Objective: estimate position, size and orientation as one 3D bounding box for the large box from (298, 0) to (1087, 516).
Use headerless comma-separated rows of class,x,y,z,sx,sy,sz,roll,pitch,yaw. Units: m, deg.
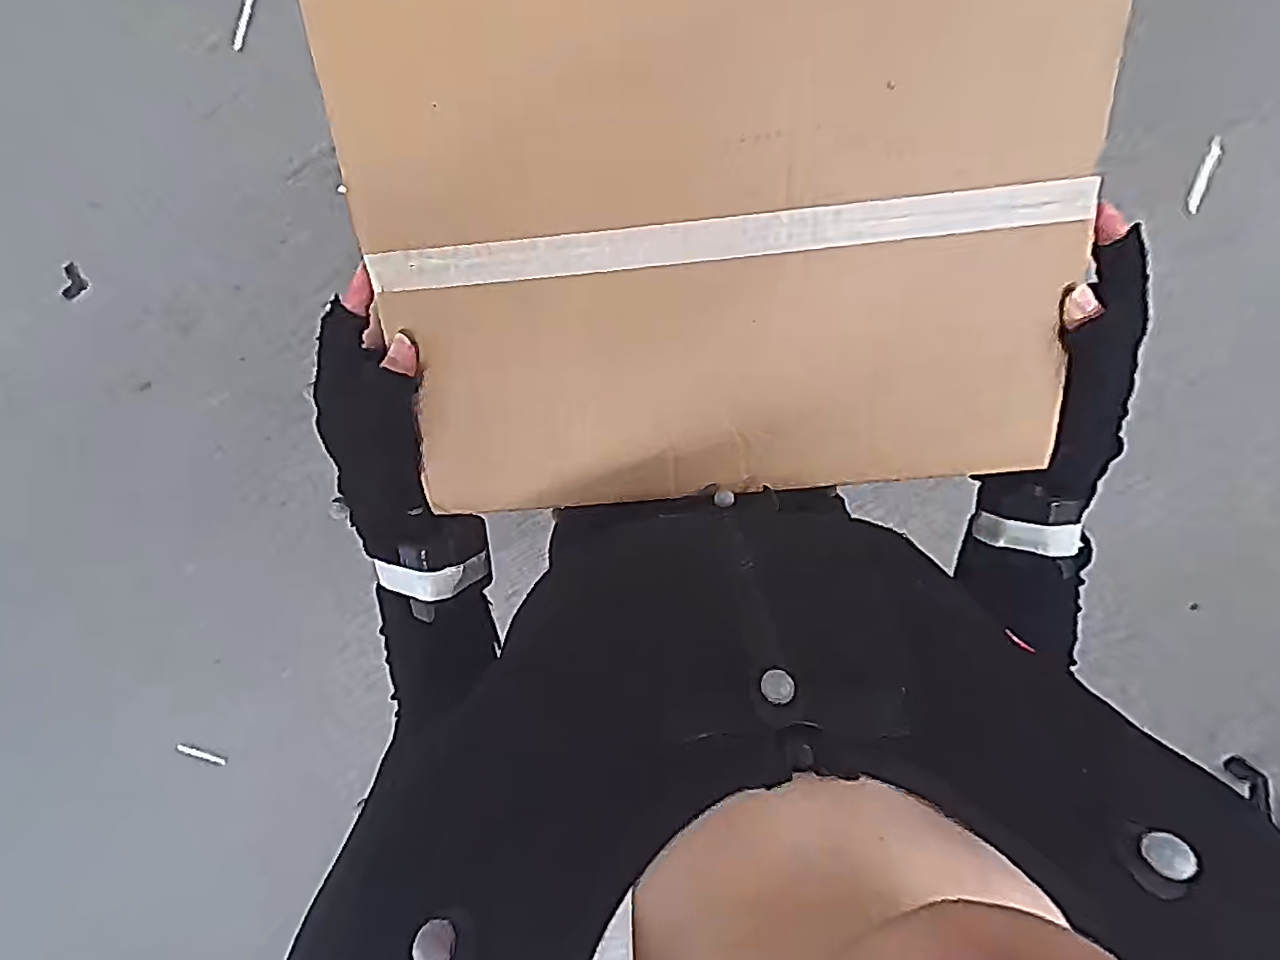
large box,0.041,-0.190,0.454,0.408,0.320,0.320,-5,110,3
